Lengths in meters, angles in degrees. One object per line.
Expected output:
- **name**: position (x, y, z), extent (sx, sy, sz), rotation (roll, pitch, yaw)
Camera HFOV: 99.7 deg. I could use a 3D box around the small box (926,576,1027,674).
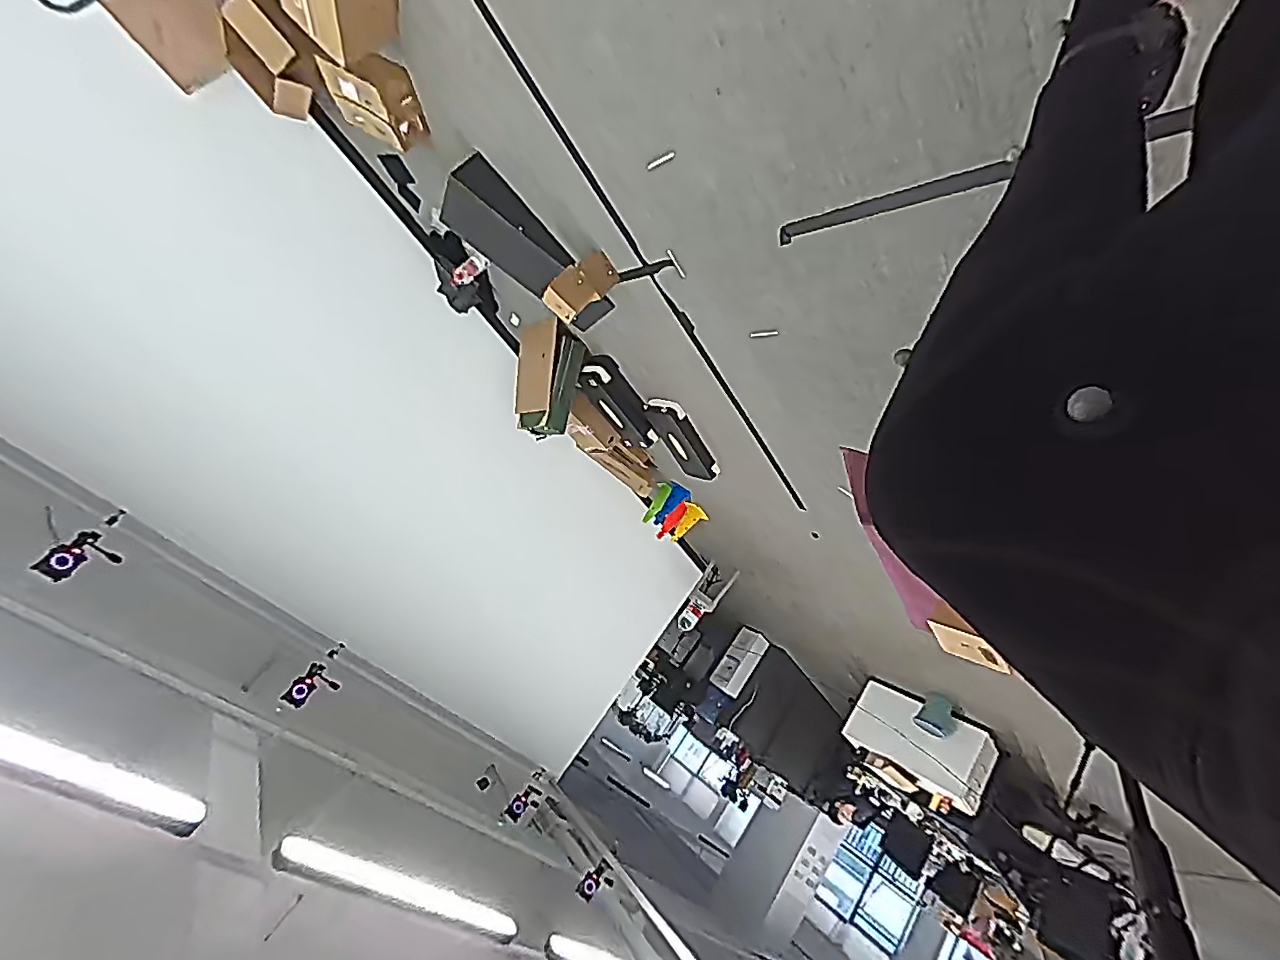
- **small box**: position (0.914, 0.383, 1.457), extent (0.179, 0.176, 0.168), rotation (14, 149, 54)
